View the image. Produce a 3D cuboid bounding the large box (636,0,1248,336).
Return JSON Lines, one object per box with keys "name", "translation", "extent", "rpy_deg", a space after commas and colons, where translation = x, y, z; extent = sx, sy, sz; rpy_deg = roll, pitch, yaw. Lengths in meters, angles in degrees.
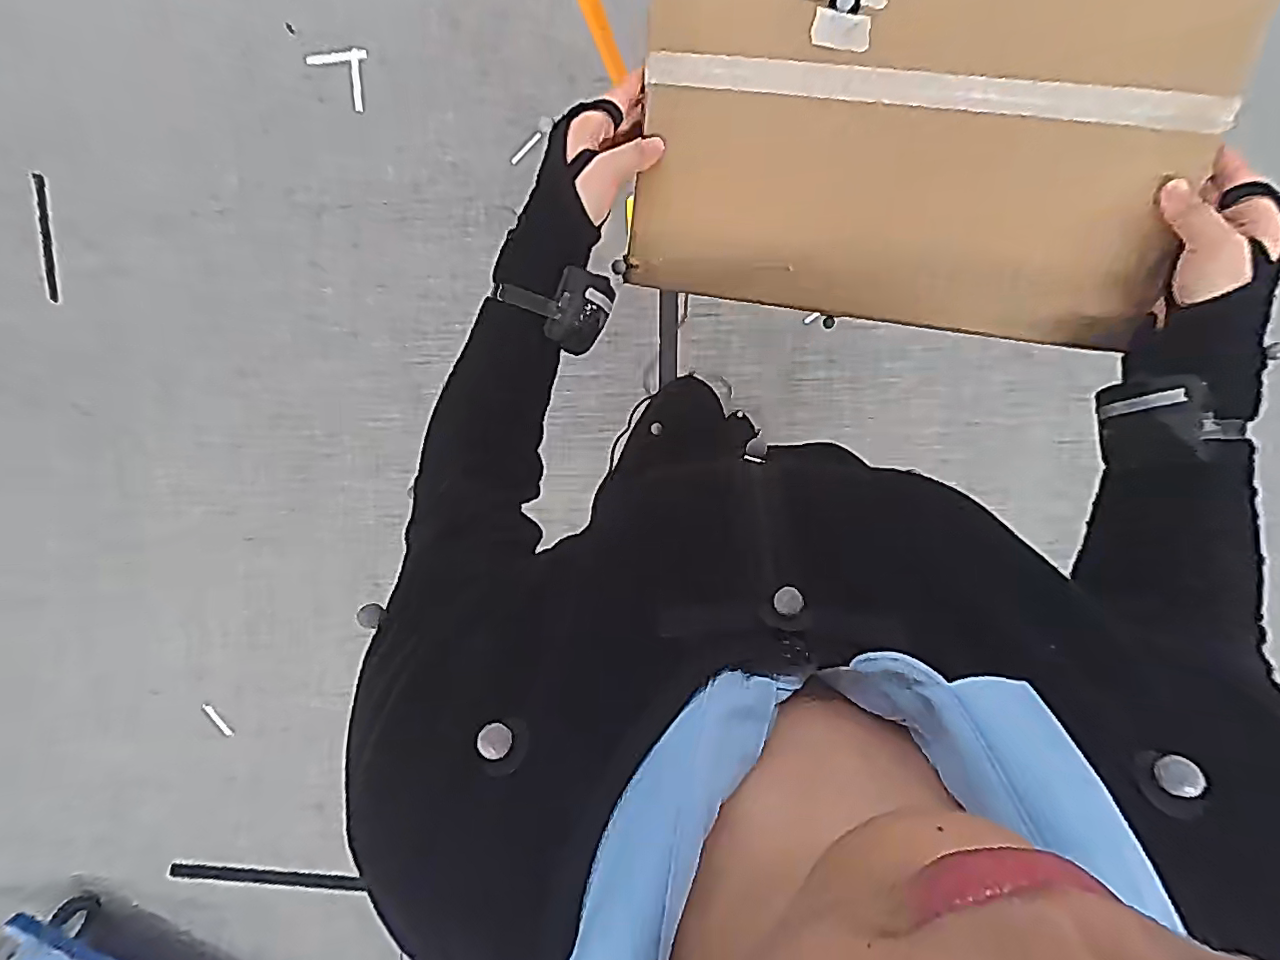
{"name": "large box", "translation": [0.233, -0.334, 0.549], "extent": [0.408, 0.320, 0.320], "rpy_deg": [10, 108, 7]}
